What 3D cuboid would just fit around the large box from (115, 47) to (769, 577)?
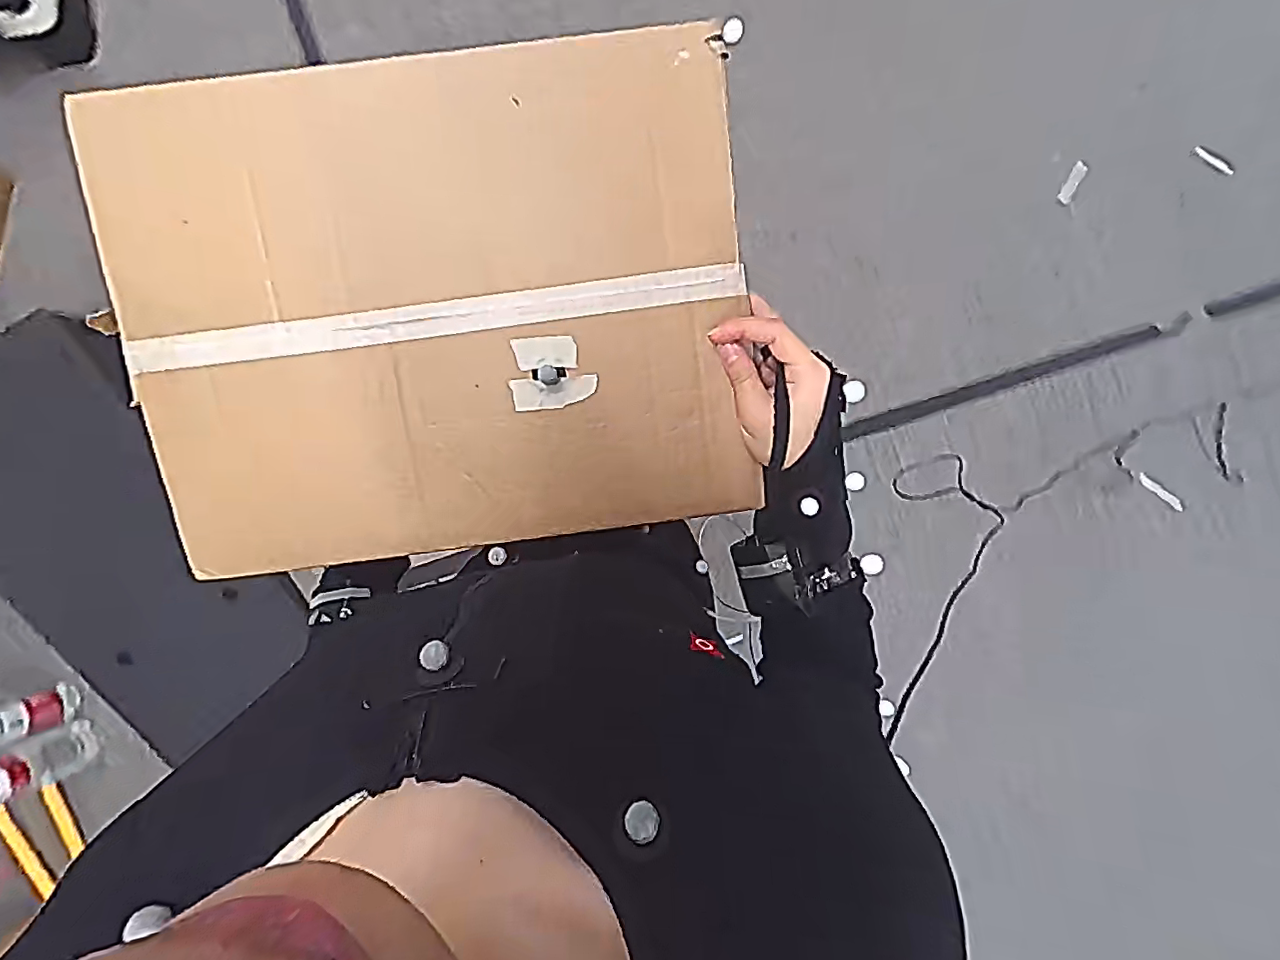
[{"bbox_3d":[-0.128,-0.127,0.515,0.408,0.320,0.320,-7,100,-2],"label":"large box"}]
